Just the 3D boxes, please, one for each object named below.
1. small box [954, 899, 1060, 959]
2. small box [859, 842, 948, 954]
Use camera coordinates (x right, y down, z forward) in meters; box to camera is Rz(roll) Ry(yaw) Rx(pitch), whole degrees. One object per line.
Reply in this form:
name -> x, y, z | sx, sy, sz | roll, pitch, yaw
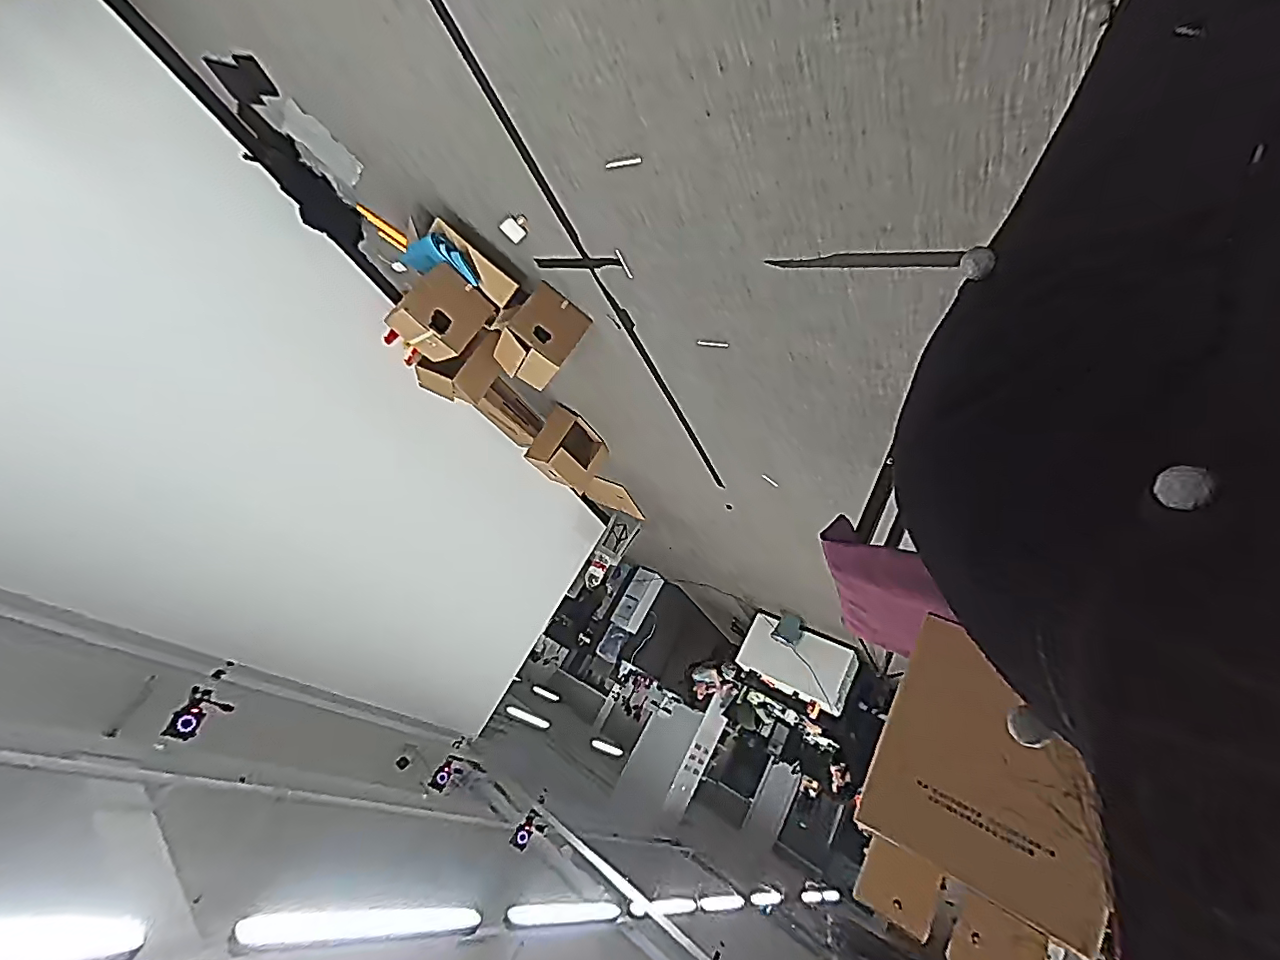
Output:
small box -> 0.879, 1.153, 1.305 | 0.179, 0.176, 0.168 | 16, 156, 39
small box -> 0.709, 1.106, 1.443 | 0.179, 0.176, 0.168 | 16, 155, 38
